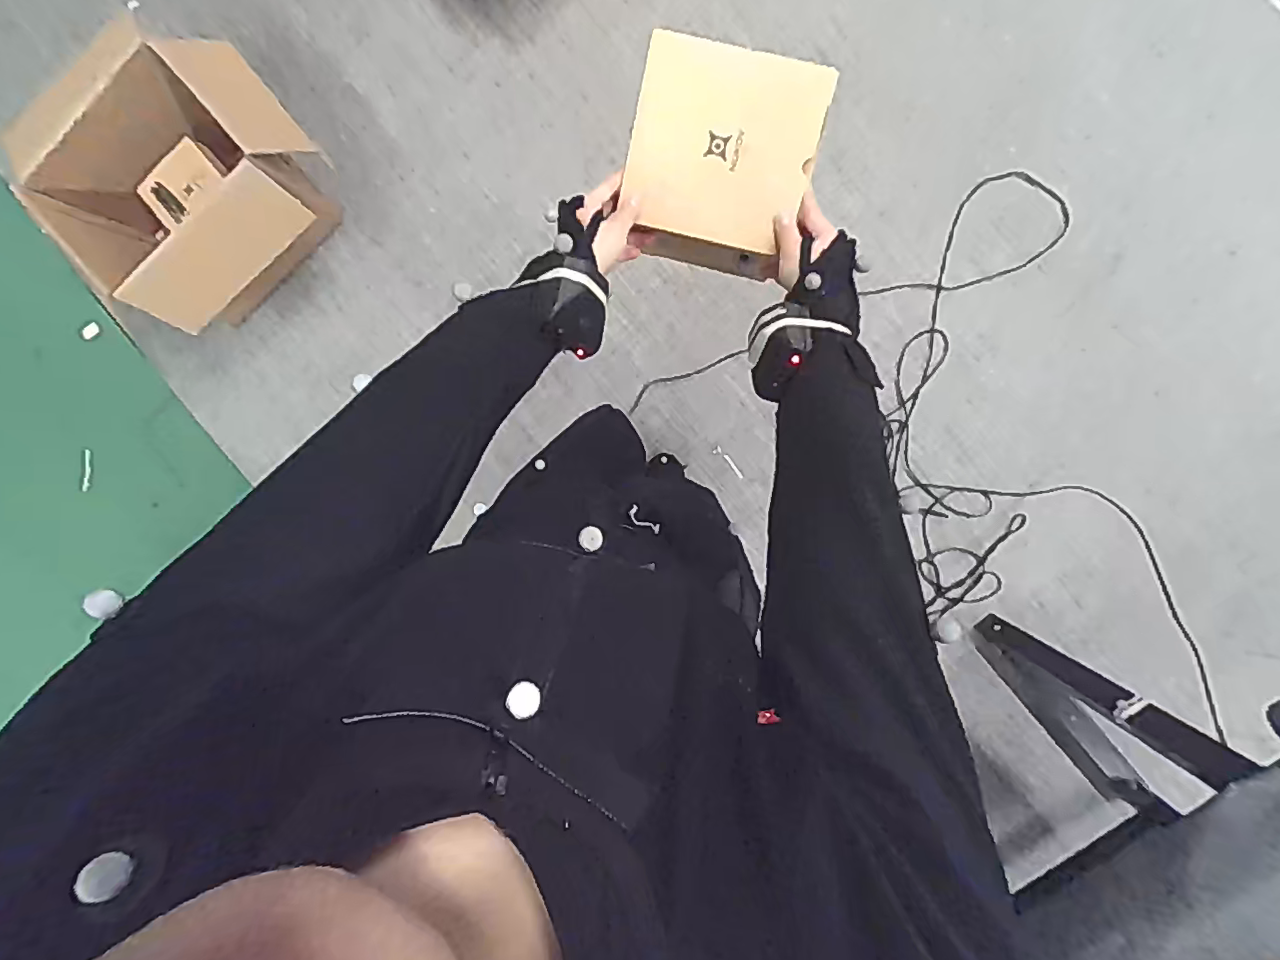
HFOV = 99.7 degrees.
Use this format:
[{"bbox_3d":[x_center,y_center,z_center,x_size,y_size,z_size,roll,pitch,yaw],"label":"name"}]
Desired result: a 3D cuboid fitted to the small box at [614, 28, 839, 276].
[{"bbox_3d":[0.082,-0.329,0.581,0.179,0.176,0.168,14,104,1],"label":"small box"}]
